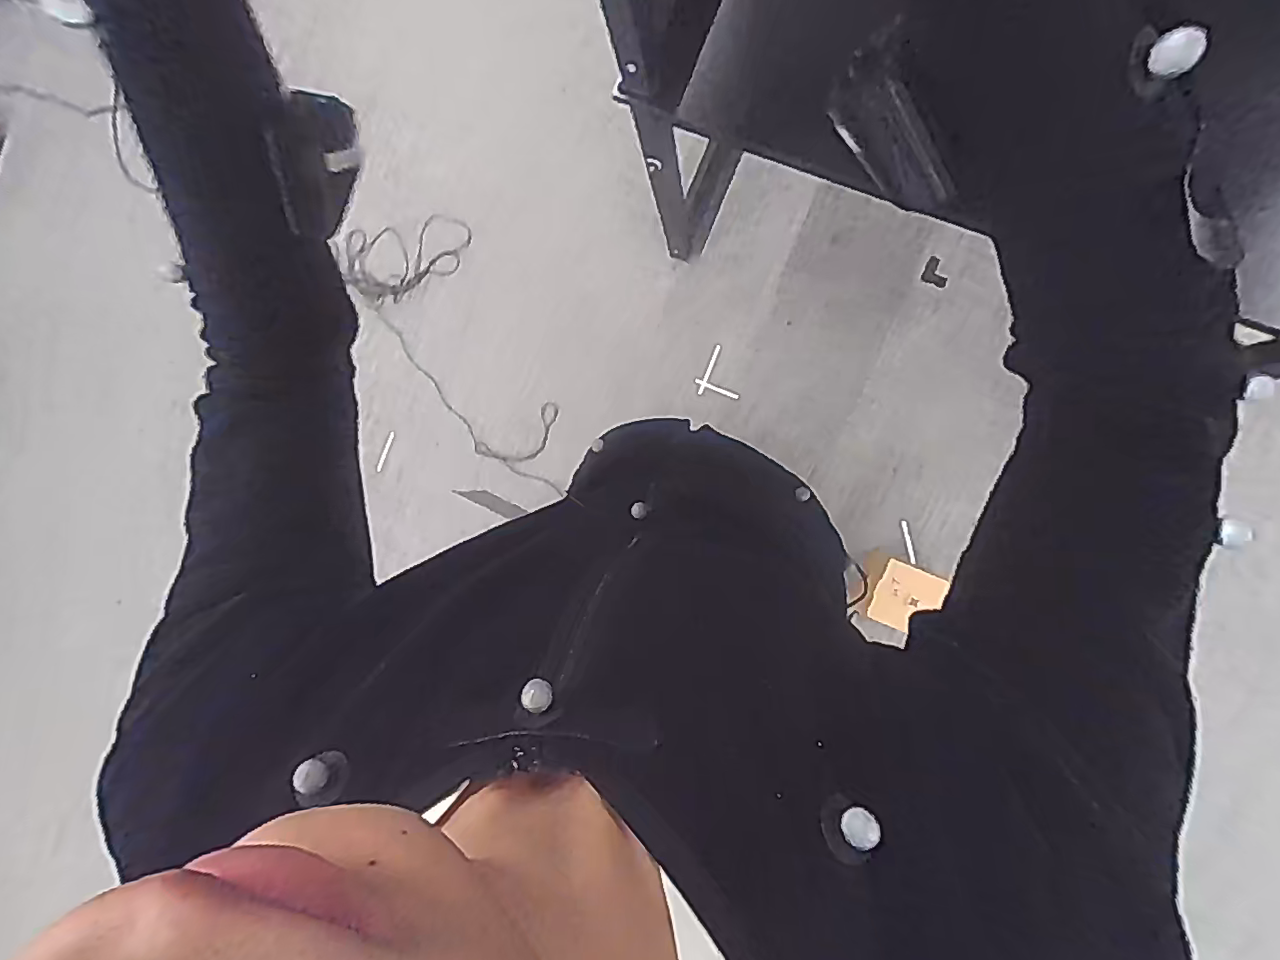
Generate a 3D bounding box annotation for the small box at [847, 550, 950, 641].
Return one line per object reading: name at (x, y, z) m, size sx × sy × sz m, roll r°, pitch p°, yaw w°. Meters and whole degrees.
small box at (0.687, 0.301, 1.459) m, size 0.179 × 0.176 × 0.168 m, roll 23°, pitch 95°, yaw 8°
